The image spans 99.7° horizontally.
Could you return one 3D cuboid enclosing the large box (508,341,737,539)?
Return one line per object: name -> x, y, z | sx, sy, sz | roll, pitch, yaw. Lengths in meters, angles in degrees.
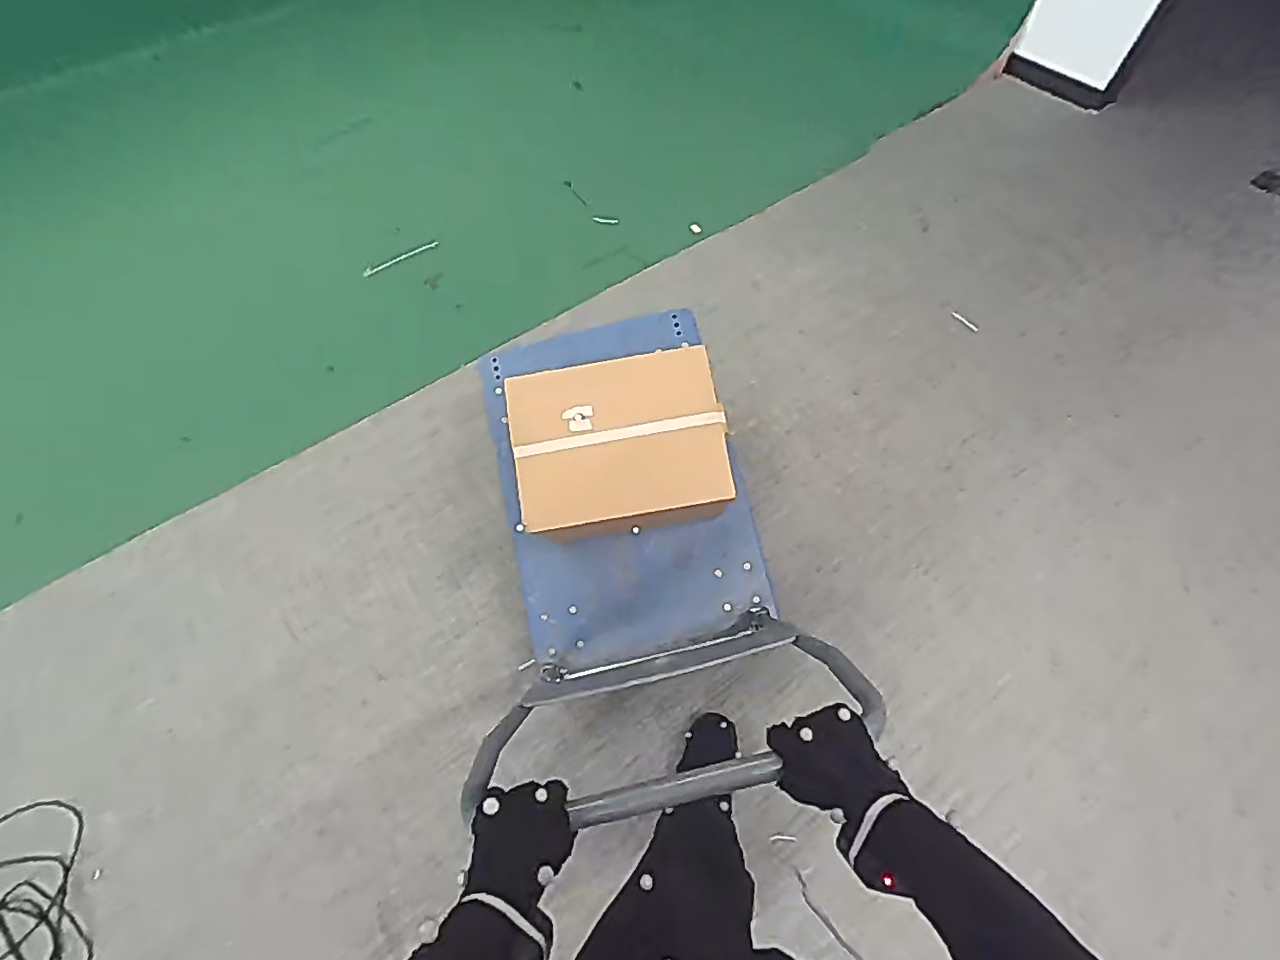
large box -> -0.030, -0.063, 1.181 | 0.408, 0.320, 0.320 | -11, 79, 2
